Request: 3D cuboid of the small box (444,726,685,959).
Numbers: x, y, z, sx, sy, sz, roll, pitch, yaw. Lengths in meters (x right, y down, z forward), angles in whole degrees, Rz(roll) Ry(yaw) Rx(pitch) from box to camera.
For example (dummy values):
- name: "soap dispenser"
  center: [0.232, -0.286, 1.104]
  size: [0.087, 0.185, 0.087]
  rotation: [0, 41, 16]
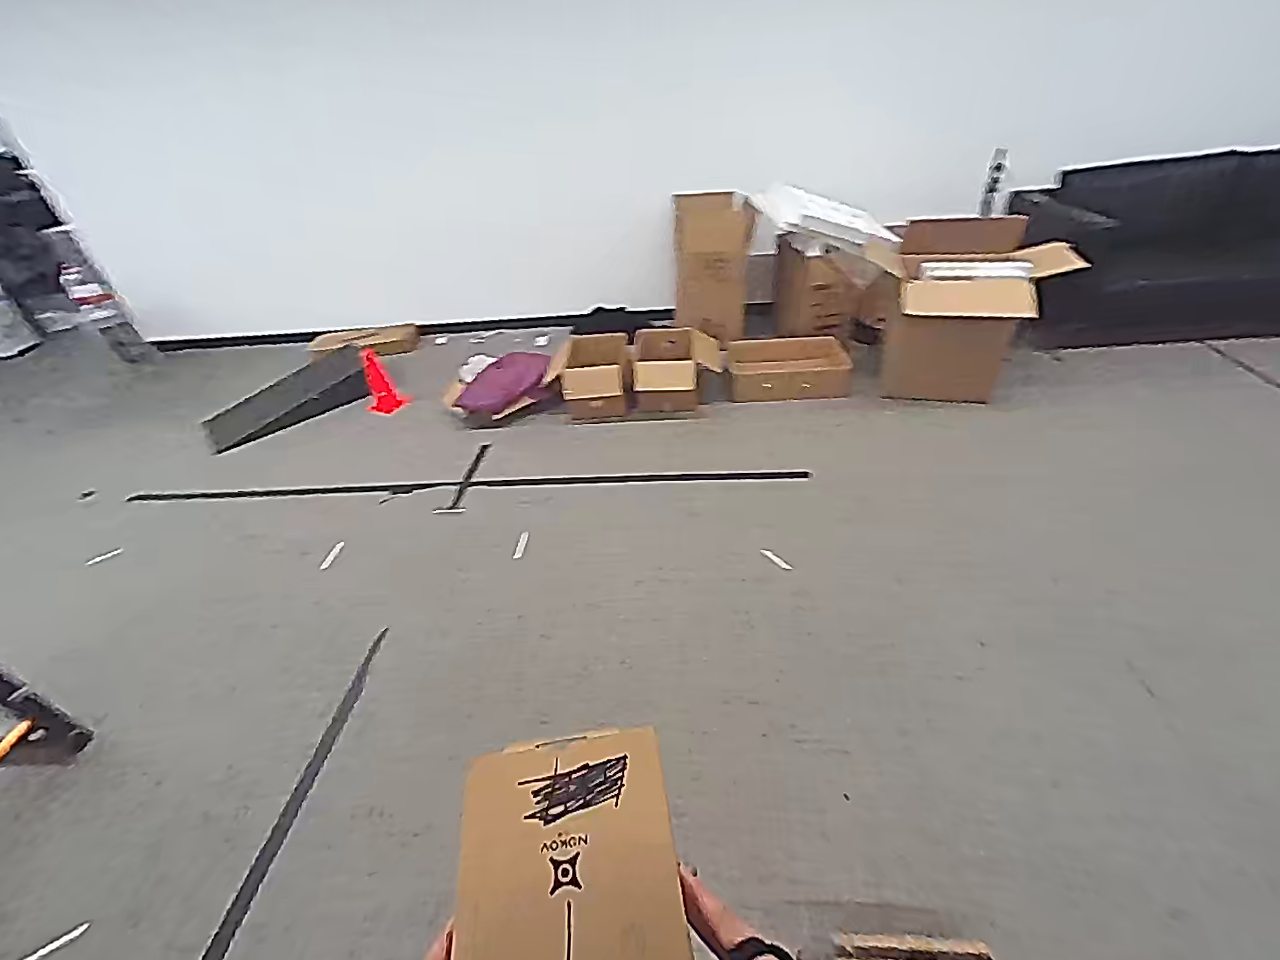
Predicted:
- name: "small box"
  center: [-0.055, 0.345, 0.464]
  size: [0.168, 0.176, 0.179]
  rotation: [-10, 43, -3]
